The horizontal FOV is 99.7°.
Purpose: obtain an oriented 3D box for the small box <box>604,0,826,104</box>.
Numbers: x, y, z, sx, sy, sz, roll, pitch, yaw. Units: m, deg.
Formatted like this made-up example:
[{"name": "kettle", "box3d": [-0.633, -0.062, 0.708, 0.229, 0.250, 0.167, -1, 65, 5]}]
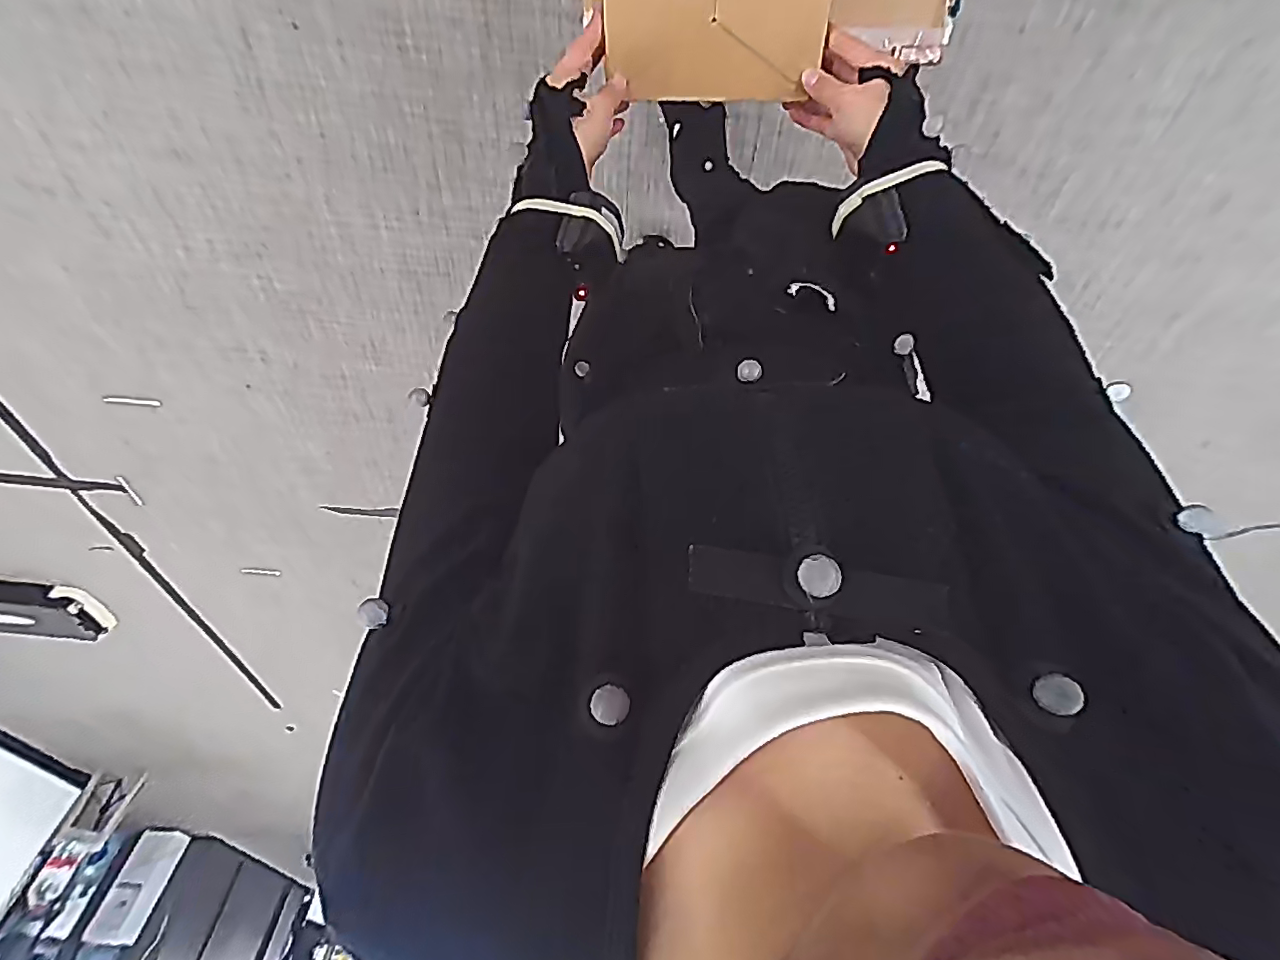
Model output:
[{"name": "small box", "box3d": [0.059, -0.436, 0.468, 0.179, 0.176, 0.168, 2, 130, 2]}]
